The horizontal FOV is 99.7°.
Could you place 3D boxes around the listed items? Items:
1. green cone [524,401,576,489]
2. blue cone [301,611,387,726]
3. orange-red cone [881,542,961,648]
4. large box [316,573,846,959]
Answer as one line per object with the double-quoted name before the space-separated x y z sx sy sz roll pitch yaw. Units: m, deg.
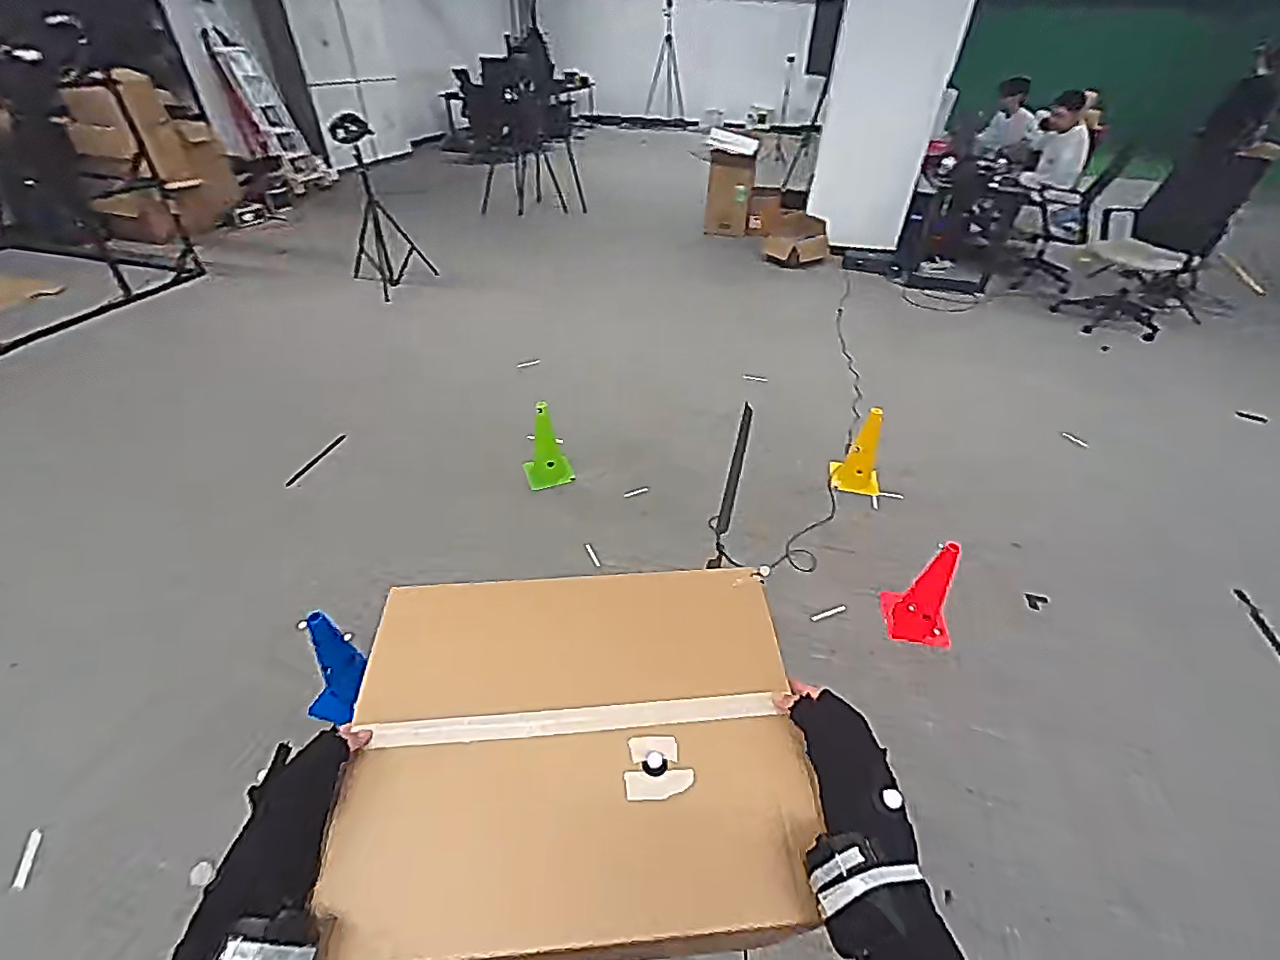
"green cone" -0.403 -0.173 2.296 0.202 0.368 0.200 -15 41 -17
"blue cone" -0.837 0.495 1.492 0.192 0.380 0.193 12 40 14
"orange-red cone" 0.930 0.334 1.721 0.198 0.360 0.199 9 38 8
"large box" -0.053 0.327 0.608 0.408 0.320 0.320 -1 46 -4
